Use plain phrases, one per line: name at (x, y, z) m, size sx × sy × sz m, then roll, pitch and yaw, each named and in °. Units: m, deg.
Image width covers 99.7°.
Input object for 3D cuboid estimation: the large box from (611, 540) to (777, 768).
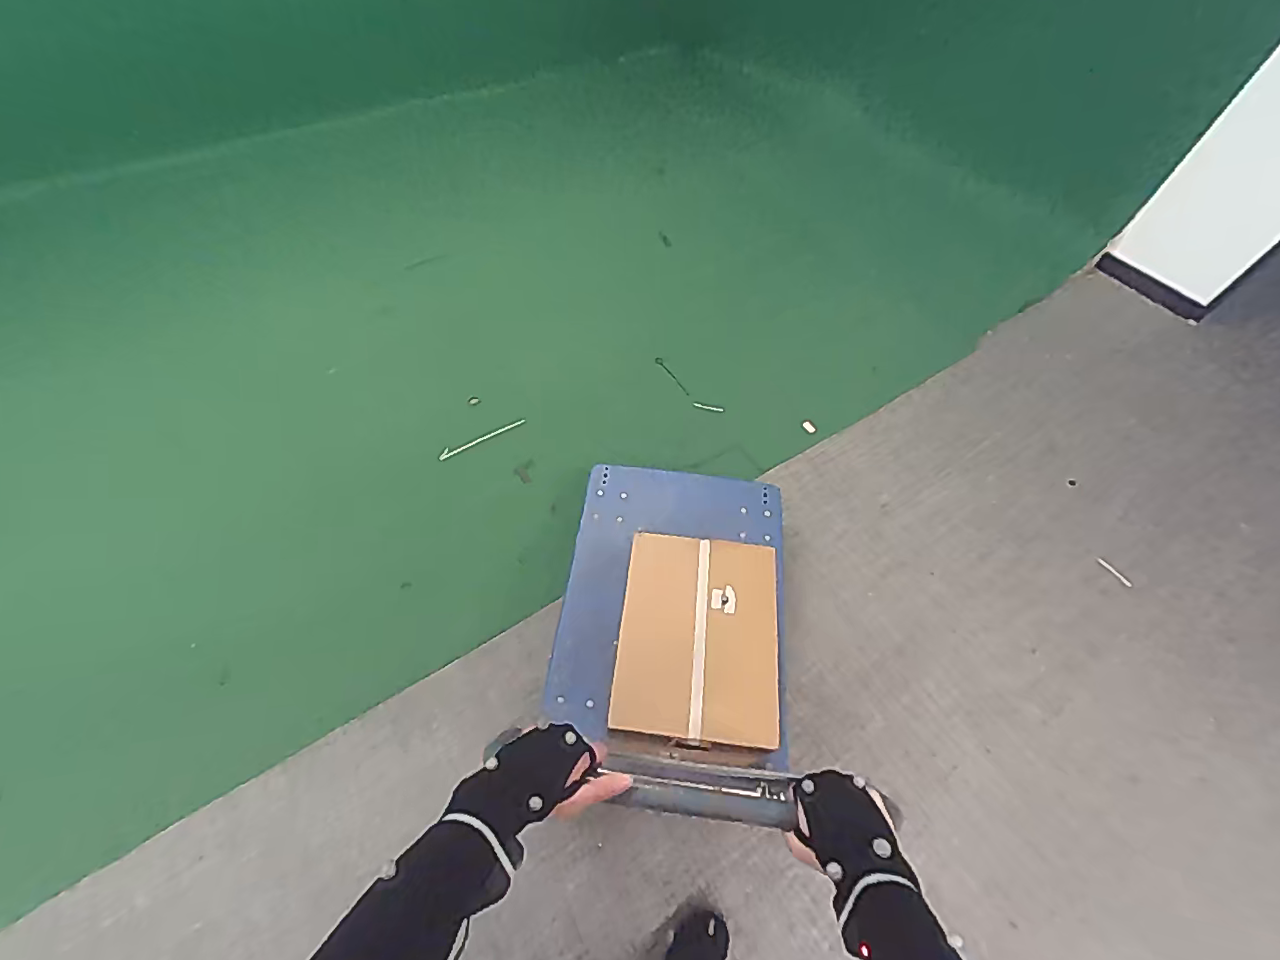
large box at (0.114, 0.397, 1.220) m, size 0.320 × 0.320 × 0.408 m, roll 7°, pitch 56°, yaw 2°
